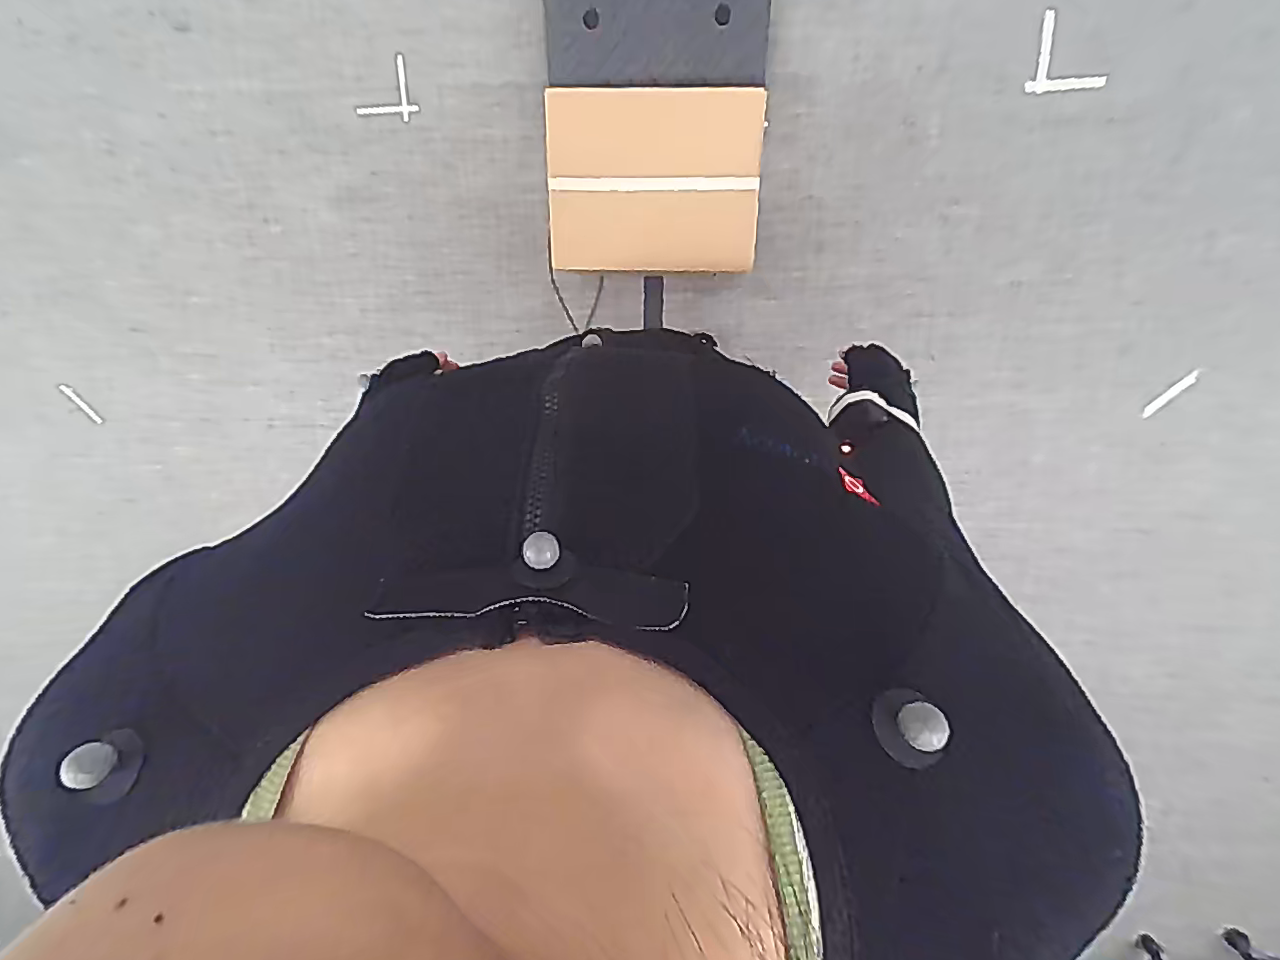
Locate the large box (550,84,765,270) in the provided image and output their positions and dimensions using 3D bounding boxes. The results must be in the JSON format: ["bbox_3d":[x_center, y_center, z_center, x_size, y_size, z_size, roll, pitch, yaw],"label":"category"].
[{"bbox_3d":[0.040,-0.624,1.177,0.408,0.320,0.320,1,109,3],"label":"large box"}]
